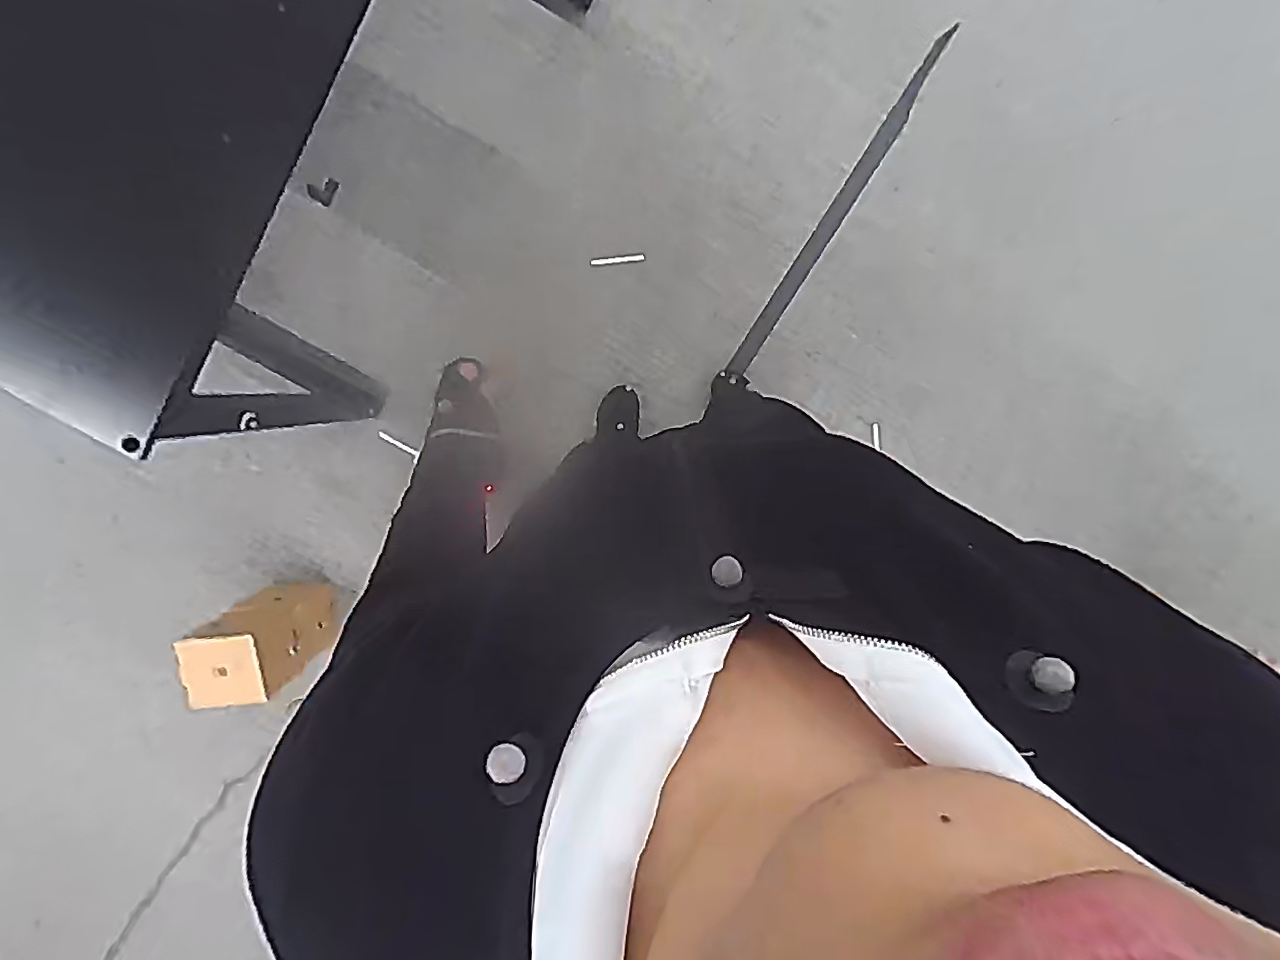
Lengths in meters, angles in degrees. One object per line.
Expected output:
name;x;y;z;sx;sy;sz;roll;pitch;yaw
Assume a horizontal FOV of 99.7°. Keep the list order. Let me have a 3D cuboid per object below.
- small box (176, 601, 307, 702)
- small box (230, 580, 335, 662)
small box;-0.939;0.403;1.290;0.179;0.176;0.168;-6;100;-2
small box;-0.945;0.373;1.450;0.179;0.176;0.168;-1;99;-1
